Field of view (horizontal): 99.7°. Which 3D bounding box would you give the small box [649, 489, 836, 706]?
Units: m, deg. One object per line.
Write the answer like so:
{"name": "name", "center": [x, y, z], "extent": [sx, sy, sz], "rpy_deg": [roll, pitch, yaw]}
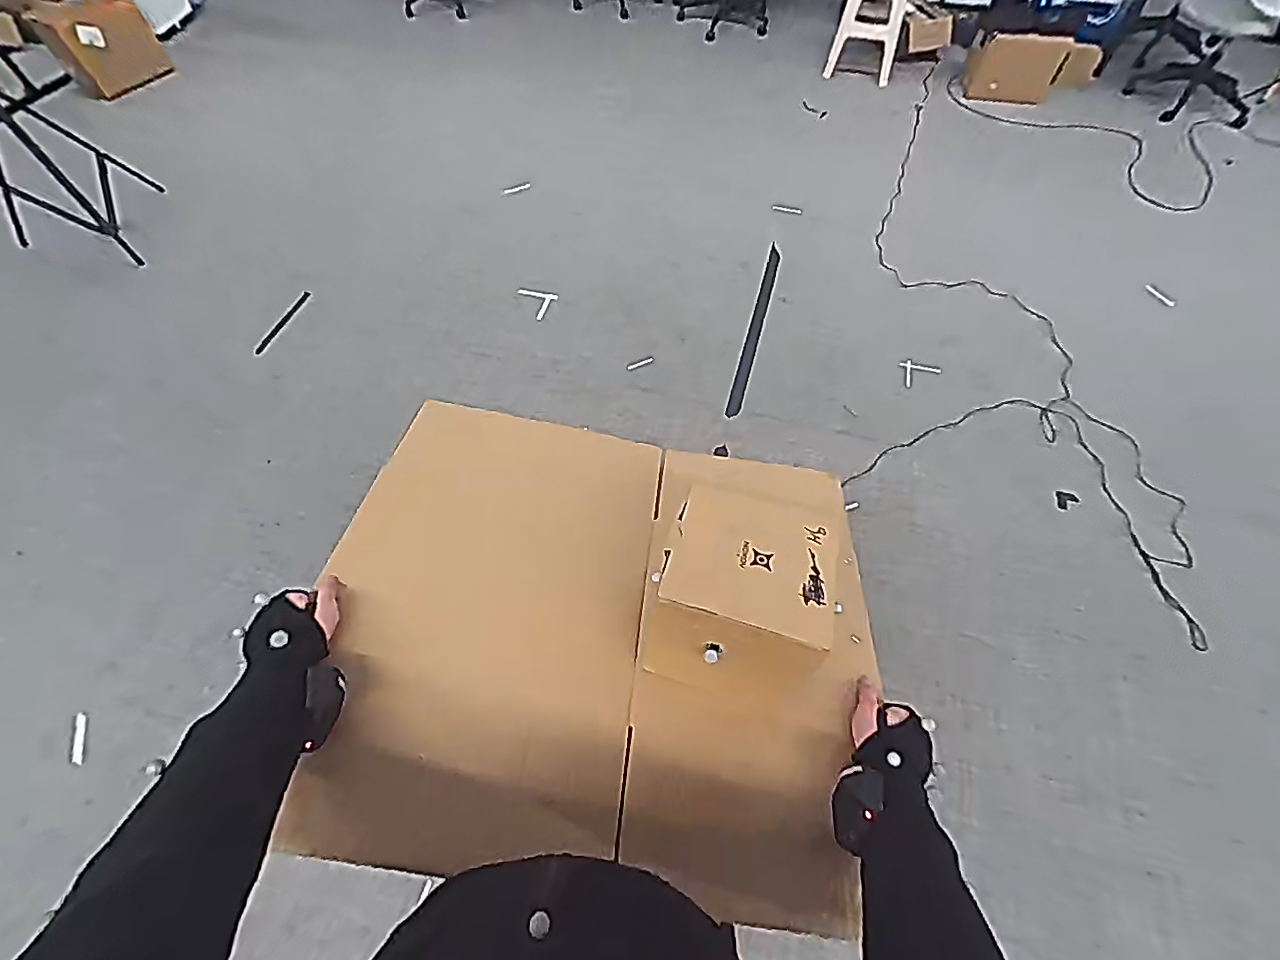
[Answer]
{"name": "small box", "center": [0.115, 0.141, 0.639], "extent": [0.179, 0.176, 0.168], "rpy_deg": [15, 48, 9]}
